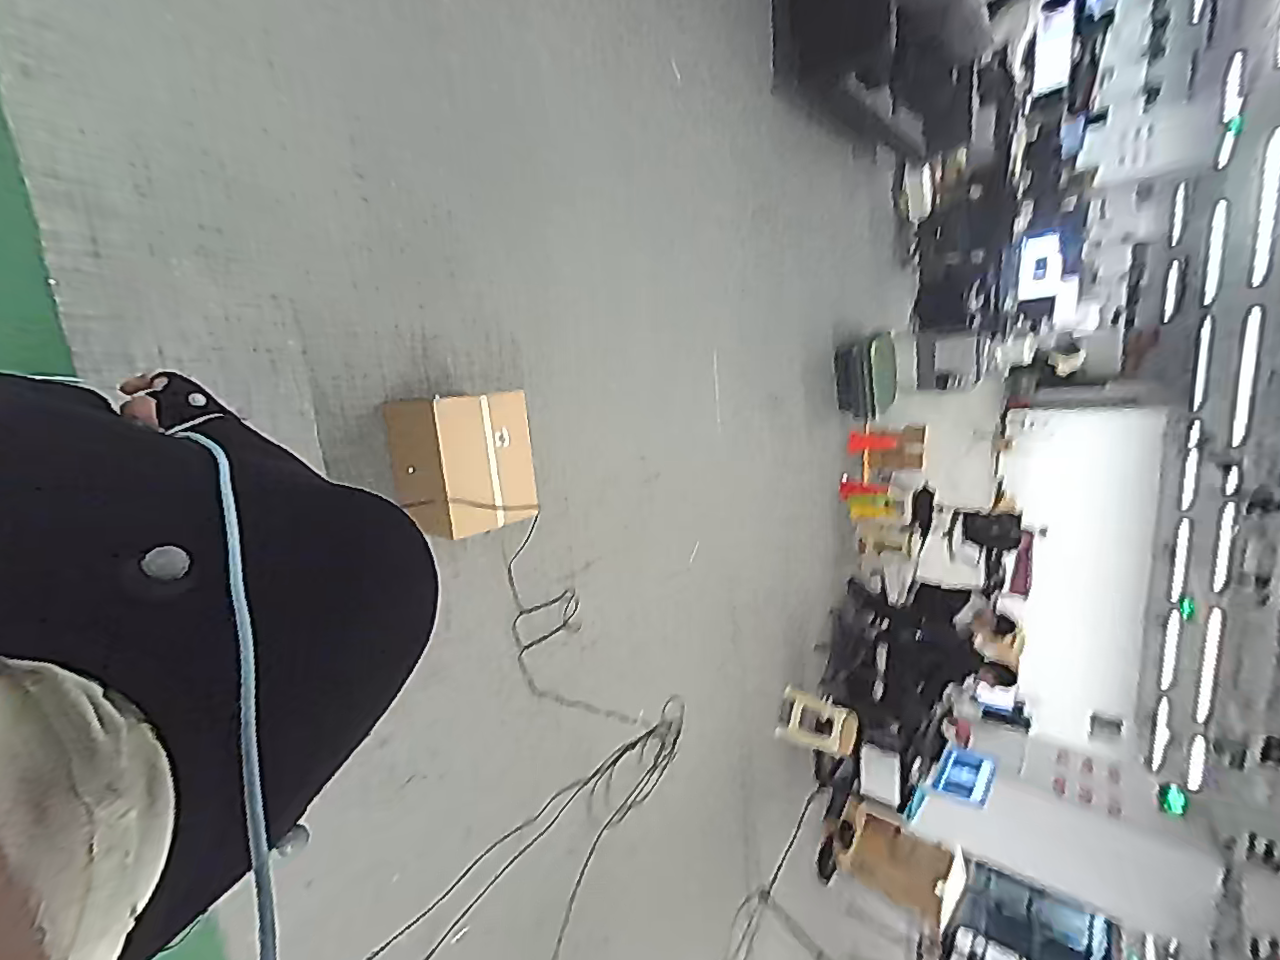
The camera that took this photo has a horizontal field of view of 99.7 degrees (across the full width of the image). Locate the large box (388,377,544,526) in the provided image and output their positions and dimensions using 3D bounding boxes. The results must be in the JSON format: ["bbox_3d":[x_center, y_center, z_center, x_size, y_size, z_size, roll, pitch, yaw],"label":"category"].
[{"bbox_3d":[-0.547,-0.099,1.709,0.320,0.320,0.408,-19,107,-47],"label":"large box"}]
